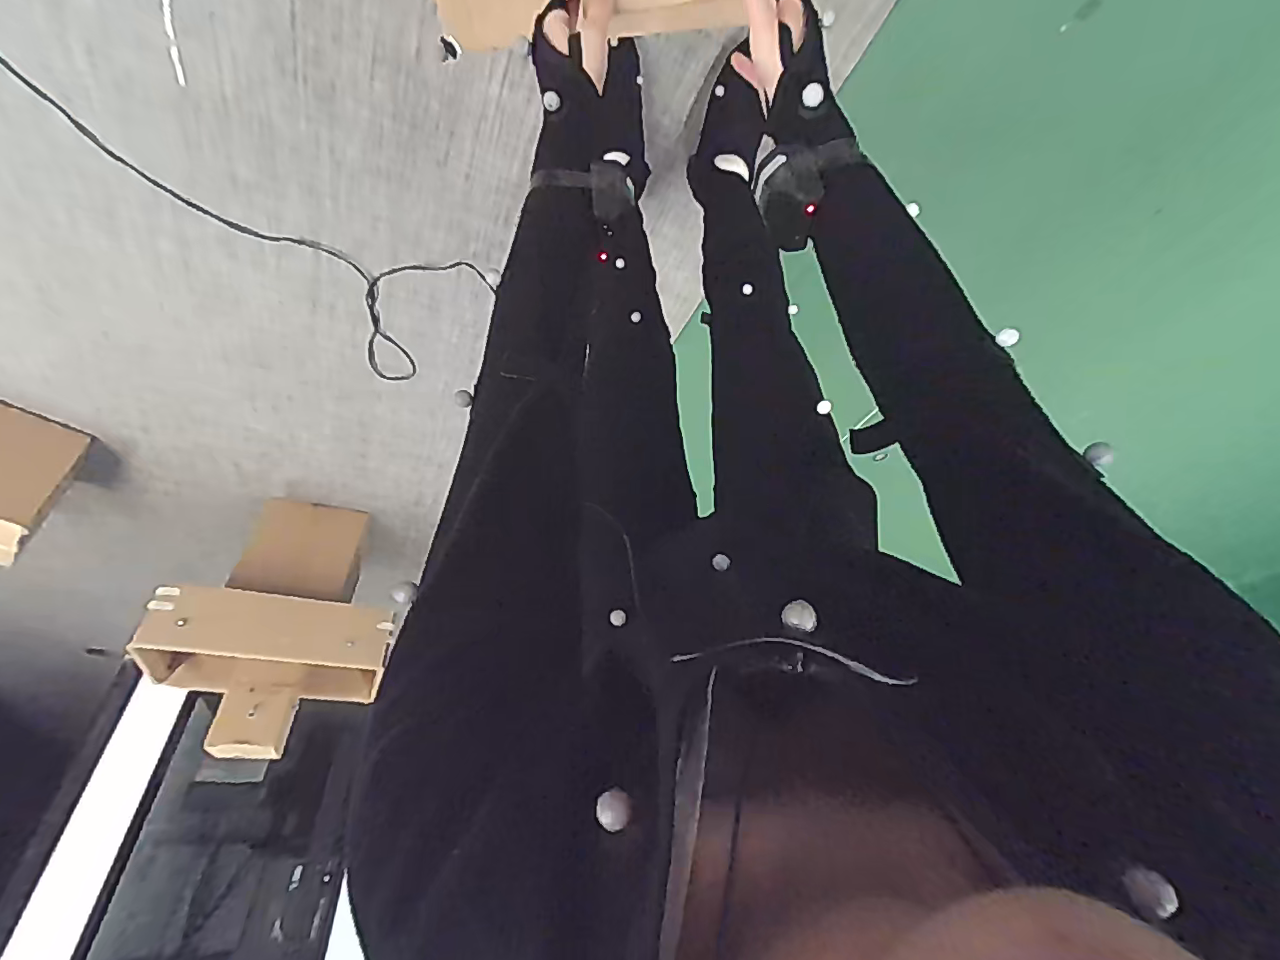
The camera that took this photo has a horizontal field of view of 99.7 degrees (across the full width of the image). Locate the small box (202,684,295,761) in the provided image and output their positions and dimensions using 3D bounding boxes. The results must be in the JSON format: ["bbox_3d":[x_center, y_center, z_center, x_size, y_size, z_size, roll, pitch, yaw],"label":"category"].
[{"bbox_3d":[-1.113,0.697,1.552,0.168,0.176,0.179,13,139,-19],"label":"small box"}]

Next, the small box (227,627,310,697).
[{"bbox_3d":[-1.124,0.567,1.651,0.168,0.176,0.179,14,139,-21],"label":"small box"}]
